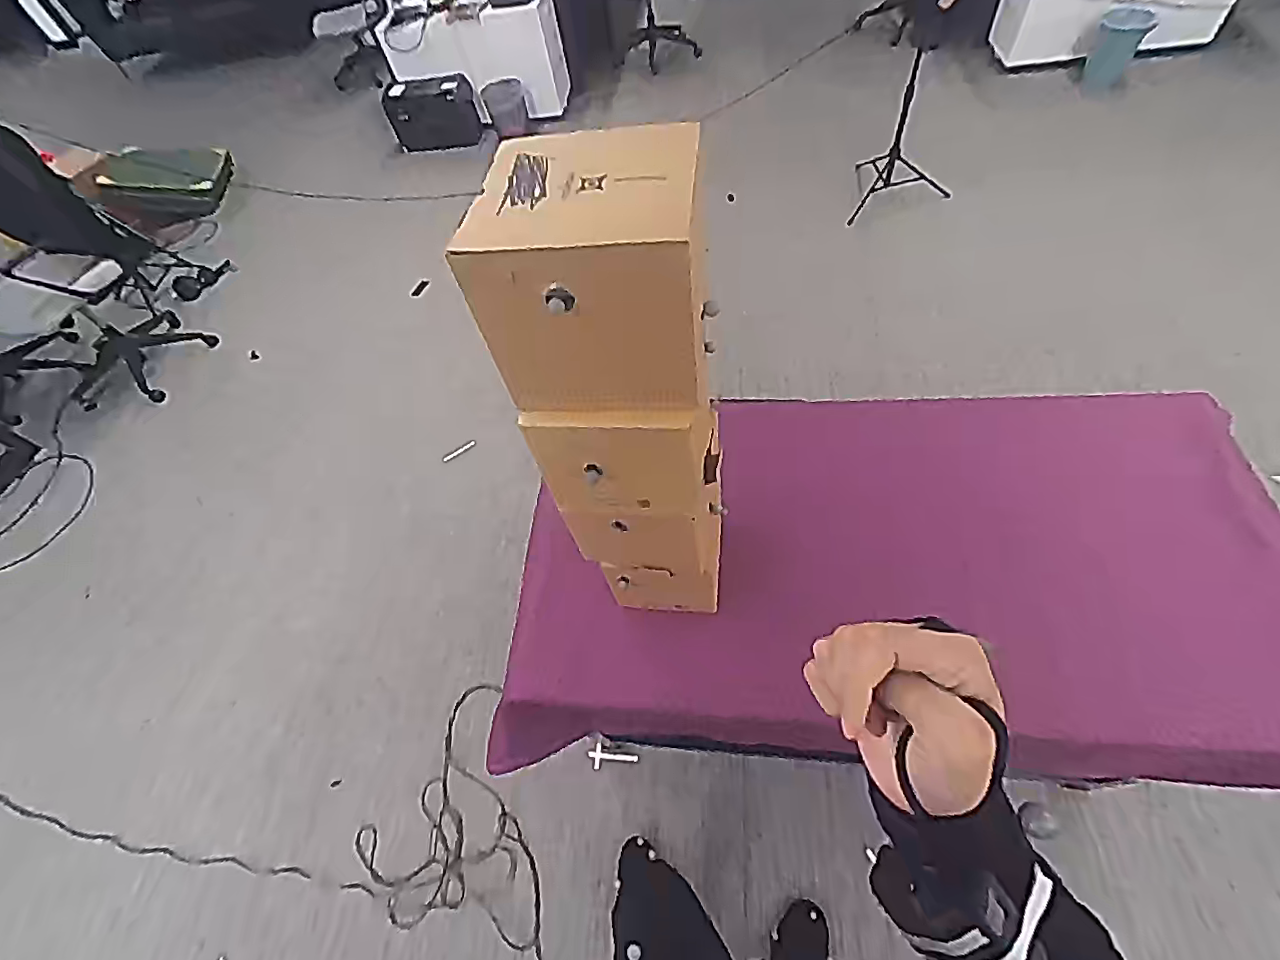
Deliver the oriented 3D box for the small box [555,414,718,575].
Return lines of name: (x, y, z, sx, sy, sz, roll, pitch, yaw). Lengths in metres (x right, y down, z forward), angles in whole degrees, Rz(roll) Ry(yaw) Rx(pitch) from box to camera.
small box: (0.008, 0.017, 0.746, 0.179, 0.176, 0.168, 7, 58, 14)

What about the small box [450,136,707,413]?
small box: (-0.033, -0.174, 0.484, 0.179, 0.176, 0.168, 1, 56, 9)

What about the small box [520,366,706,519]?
small box: (-0.014, -0.069, 0.610, 0.168, 0.176, 0.179, 1, 56, 10)
